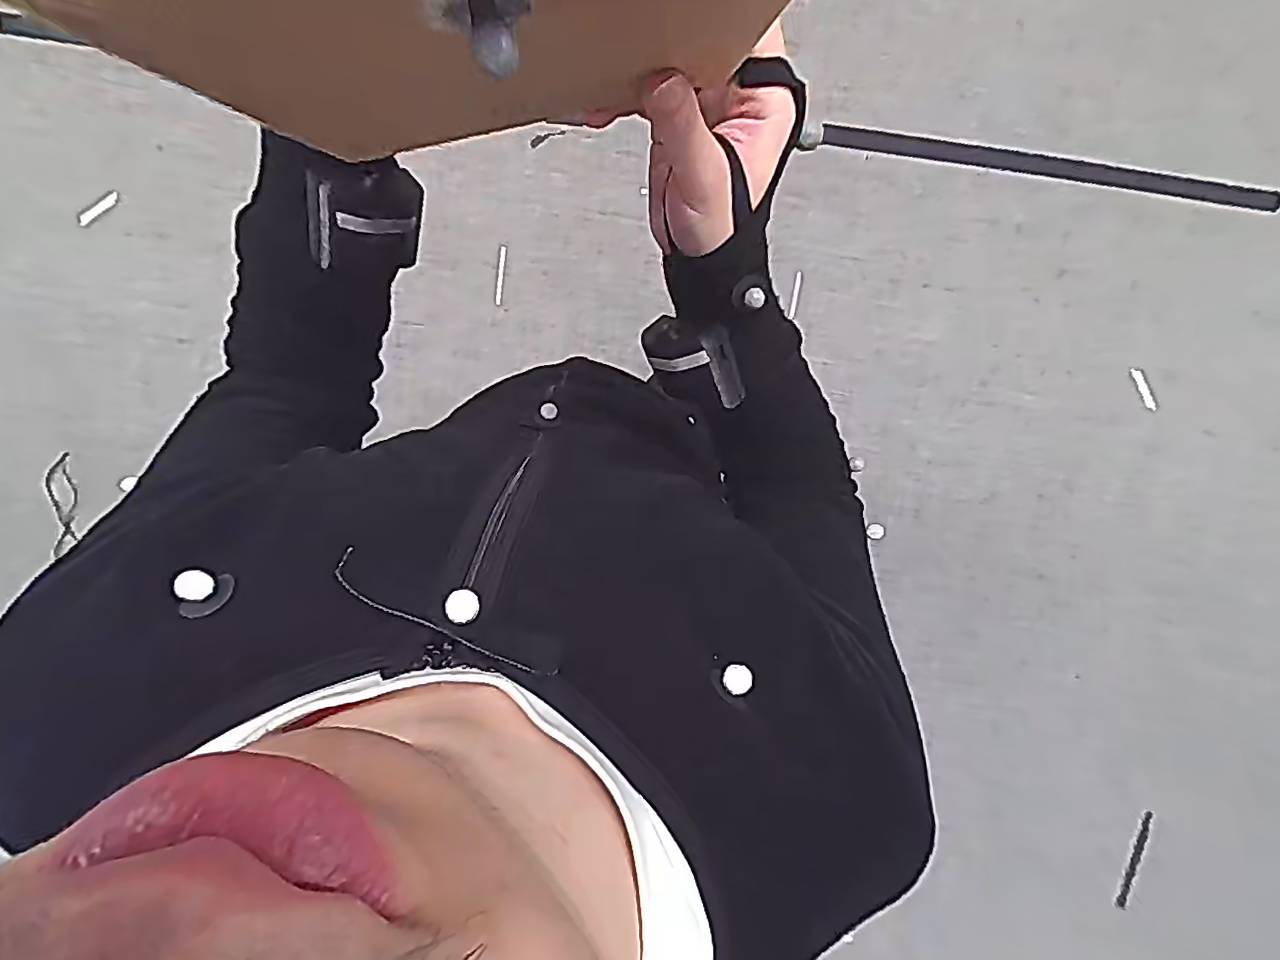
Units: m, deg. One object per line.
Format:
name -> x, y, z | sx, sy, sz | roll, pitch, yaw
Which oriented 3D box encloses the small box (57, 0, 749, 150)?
small box -> -0.055, -0.212, 0.150 | 0.179, 0.176, 0.168 | -14, 113, -1
